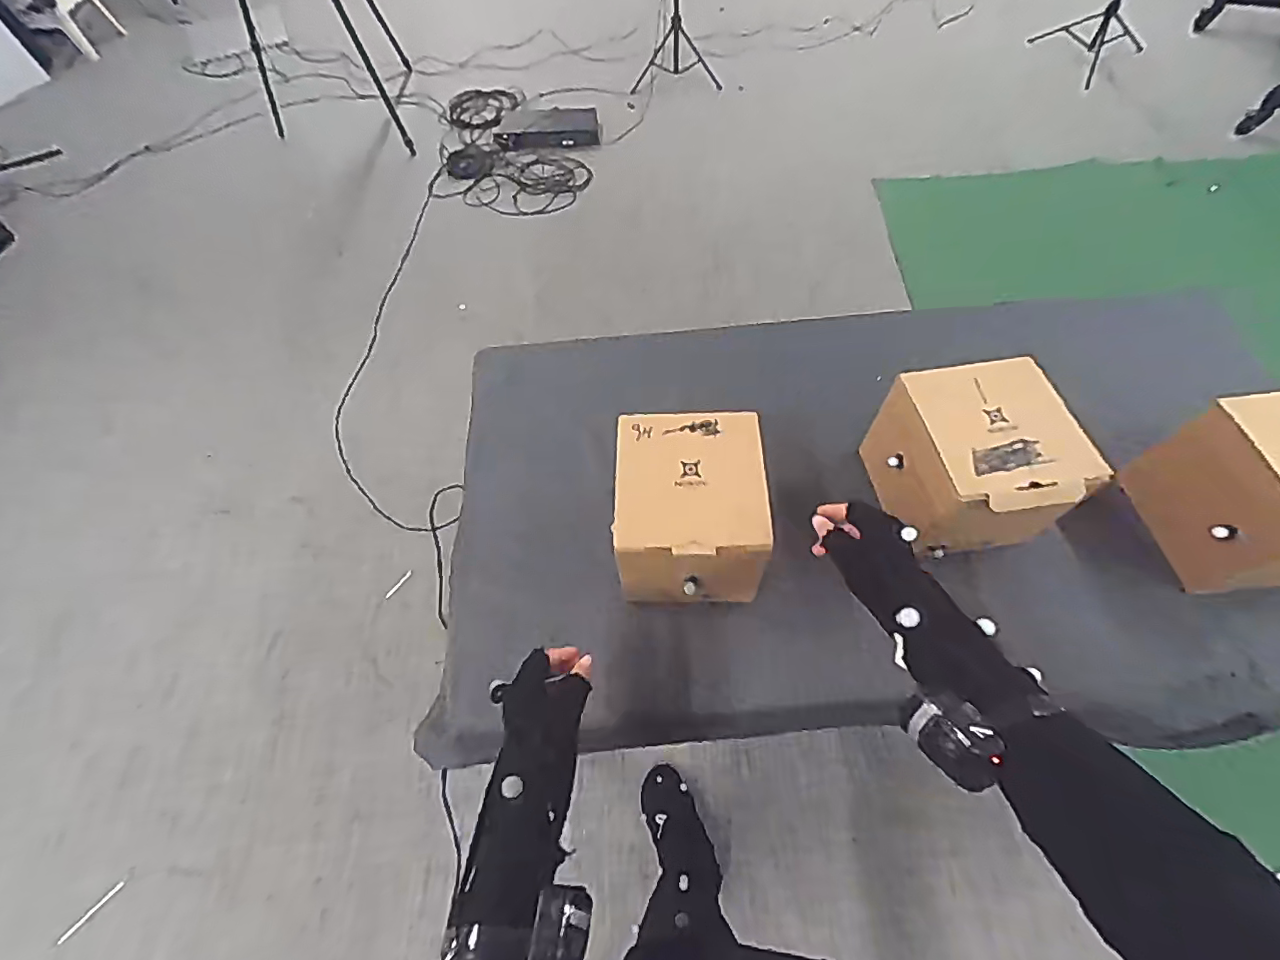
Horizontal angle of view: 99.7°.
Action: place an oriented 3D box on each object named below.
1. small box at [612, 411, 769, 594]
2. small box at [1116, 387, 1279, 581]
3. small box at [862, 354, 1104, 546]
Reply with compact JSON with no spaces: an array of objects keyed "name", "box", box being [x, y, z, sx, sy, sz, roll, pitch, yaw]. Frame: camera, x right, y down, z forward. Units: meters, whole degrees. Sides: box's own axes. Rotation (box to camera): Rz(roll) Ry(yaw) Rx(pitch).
[{"name":"small box","box":[0.059,0.036,0.666,0.168,0.176,0.179,-1,60,3]},{"name":"small box","box":[0.734,0.010,0.635,0.168,0.176,0.179,-6,59,0]},{"name":"small box","box":[0.405,-0.027,0.678,0.168,0.176,0.179,-8,59,-1]}]
